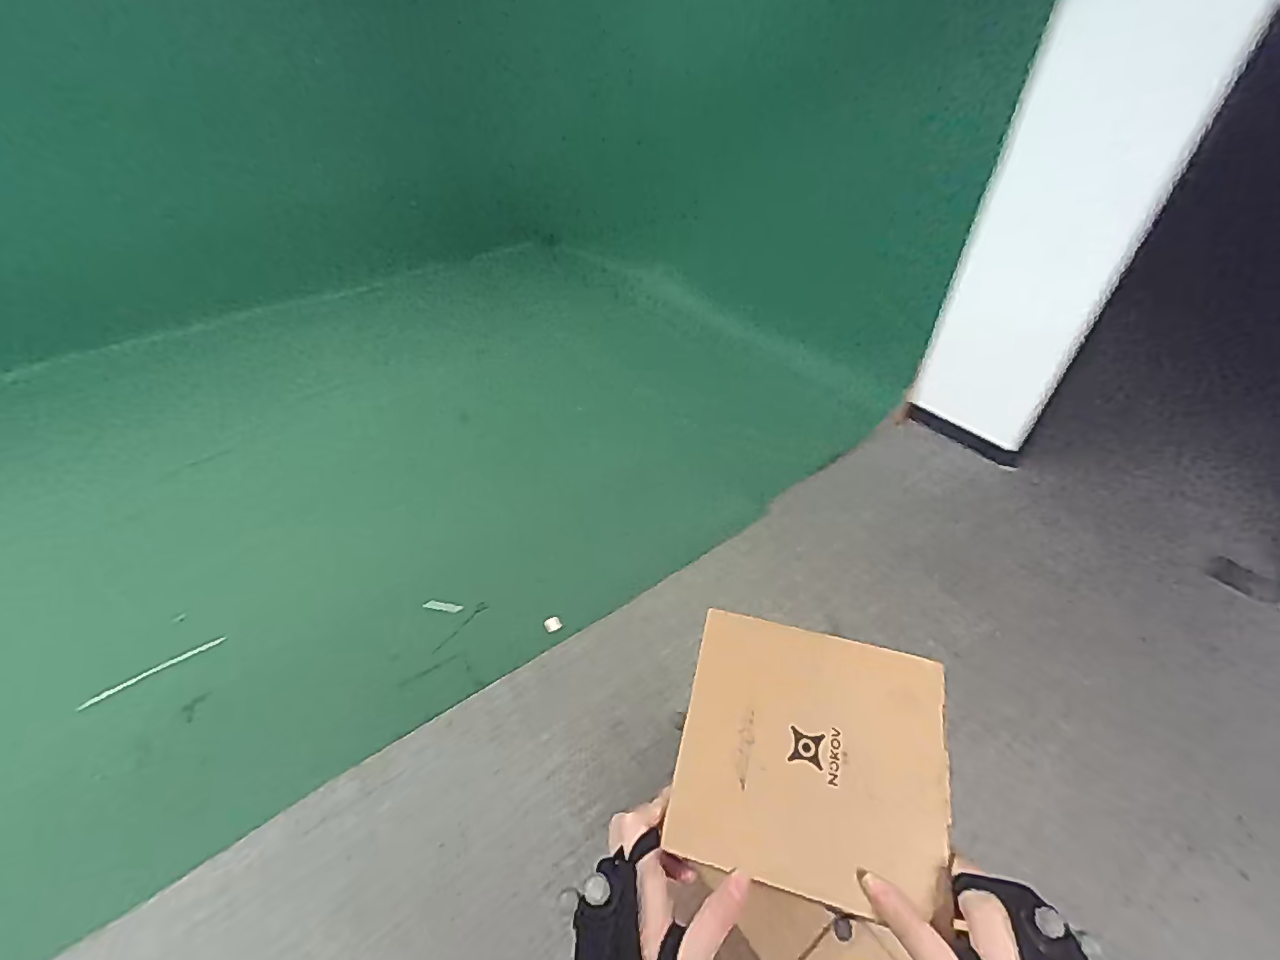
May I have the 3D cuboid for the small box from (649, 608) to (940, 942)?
[{"bbox_3d":[0.113,0.226,0.432,0.179,0.176,0.168,11,57,11],"label":"small box"}]
